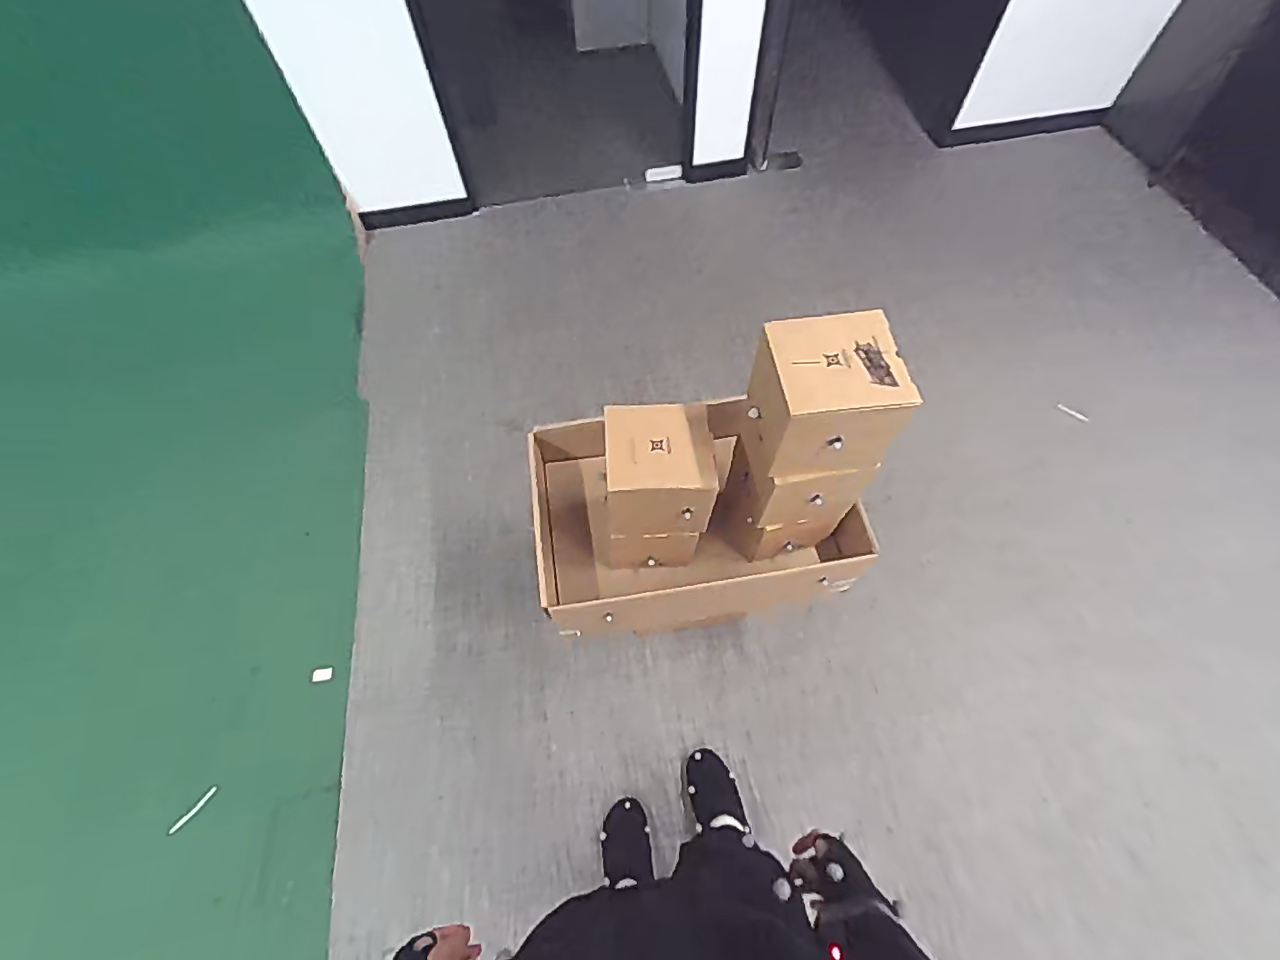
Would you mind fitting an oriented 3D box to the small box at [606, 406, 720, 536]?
[{"bbox_3d":[0.031,-0.012,0.932,0.179,0.176,0.168,-2,59,-3],"label":"small box"}]

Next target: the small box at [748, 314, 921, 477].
[{"bbox_3d":[0.270,-0.118,0.797,0.179,0.176,0.168,-6,61,-1],"label":"small box"}]
